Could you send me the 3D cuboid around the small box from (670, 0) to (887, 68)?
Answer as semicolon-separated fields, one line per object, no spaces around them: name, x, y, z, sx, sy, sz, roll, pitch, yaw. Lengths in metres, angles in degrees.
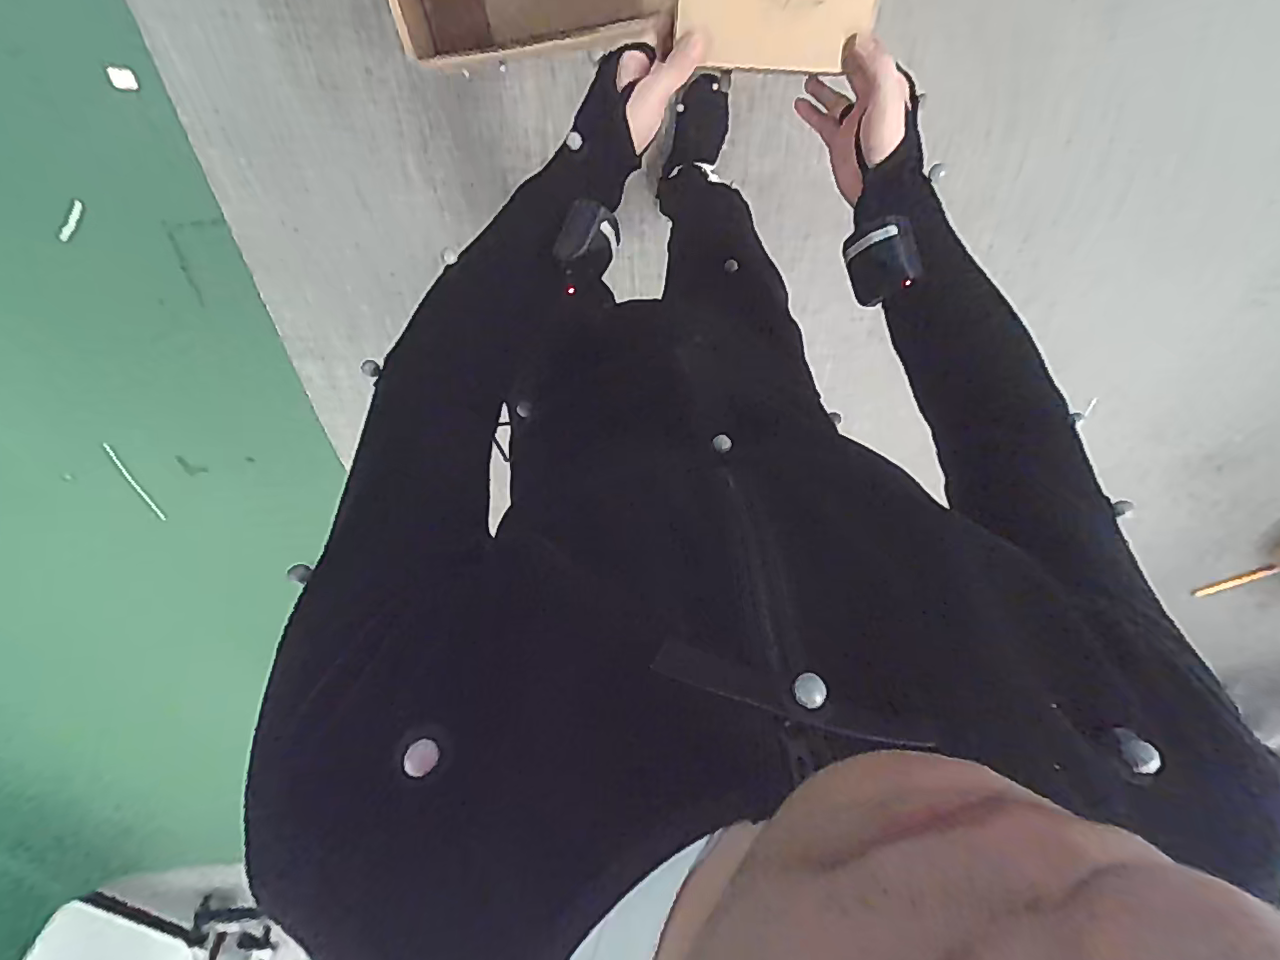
small box;0.116;-0.470;0.463;0.168;0.176;0.179;2;127;-2

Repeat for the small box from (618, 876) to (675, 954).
small box;0.021;1.441;1.799;0.168;0.176;0.179;-7;130;1
